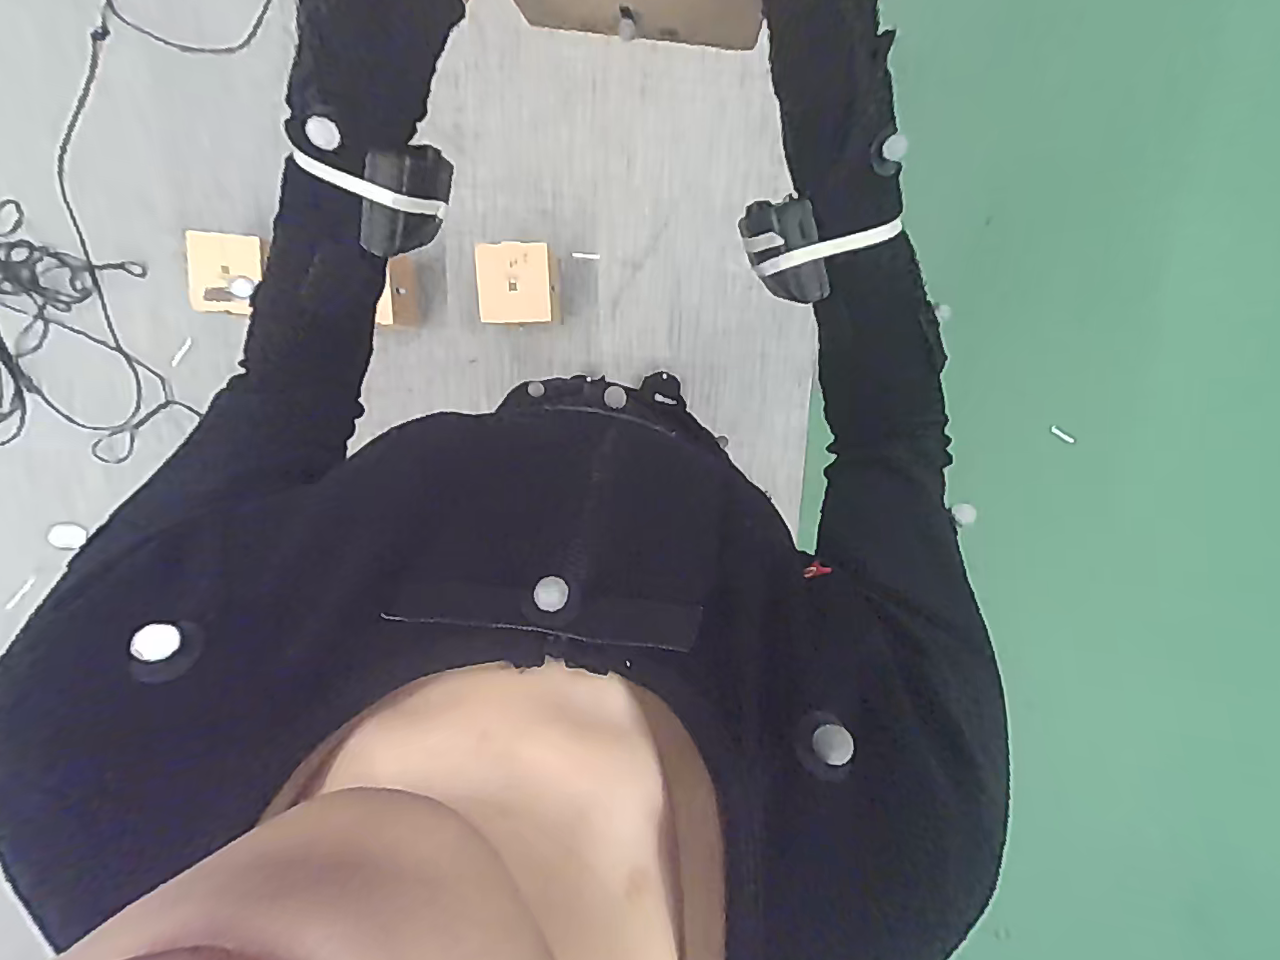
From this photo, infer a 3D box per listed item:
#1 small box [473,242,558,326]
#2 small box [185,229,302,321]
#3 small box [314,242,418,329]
[{"bbox_3d":[-0.294,-0.467,1.310,0.168,0.176,0.179,-2,102,-1],"label":"small box"},{"bbox_3d":[-0.944,-0.485,1.302,0.168,0.176,0.179,5,100,-1],"label":"small box"},{"bbox_3d":[-0.654,-0.465,1.309,0.168,0.176,0.179,0,102,0],"label":"small box"}]
